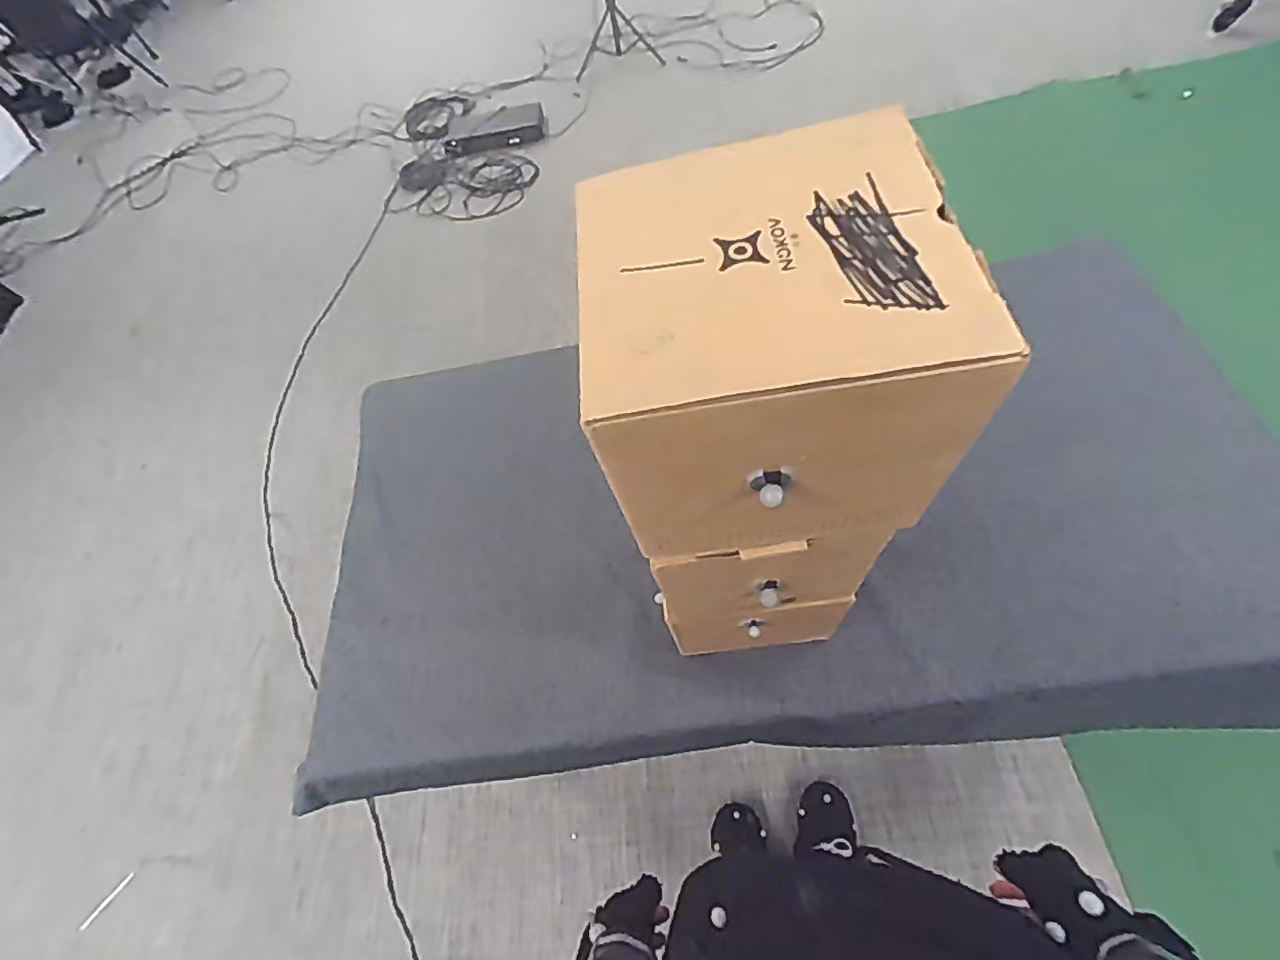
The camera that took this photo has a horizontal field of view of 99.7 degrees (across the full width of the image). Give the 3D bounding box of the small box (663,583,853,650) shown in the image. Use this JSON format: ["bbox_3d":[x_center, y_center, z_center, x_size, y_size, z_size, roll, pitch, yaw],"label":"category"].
[{"bbox_3d":[0.117,0.087,0.607,0.179,0.176,0.168,-8,62,5],"label":"small box"}]

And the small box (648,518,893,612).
[{"bbox_3d":[0.091,0.007,0.467,0.168,0.176,0.179,-11,62,5],"label":"small box"}]

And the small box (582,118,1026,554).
[{"bbox_3d":[0.071,-0.066,0.320,0.179,0.176,0.168,-8,61,7],"label":"small box"}]
